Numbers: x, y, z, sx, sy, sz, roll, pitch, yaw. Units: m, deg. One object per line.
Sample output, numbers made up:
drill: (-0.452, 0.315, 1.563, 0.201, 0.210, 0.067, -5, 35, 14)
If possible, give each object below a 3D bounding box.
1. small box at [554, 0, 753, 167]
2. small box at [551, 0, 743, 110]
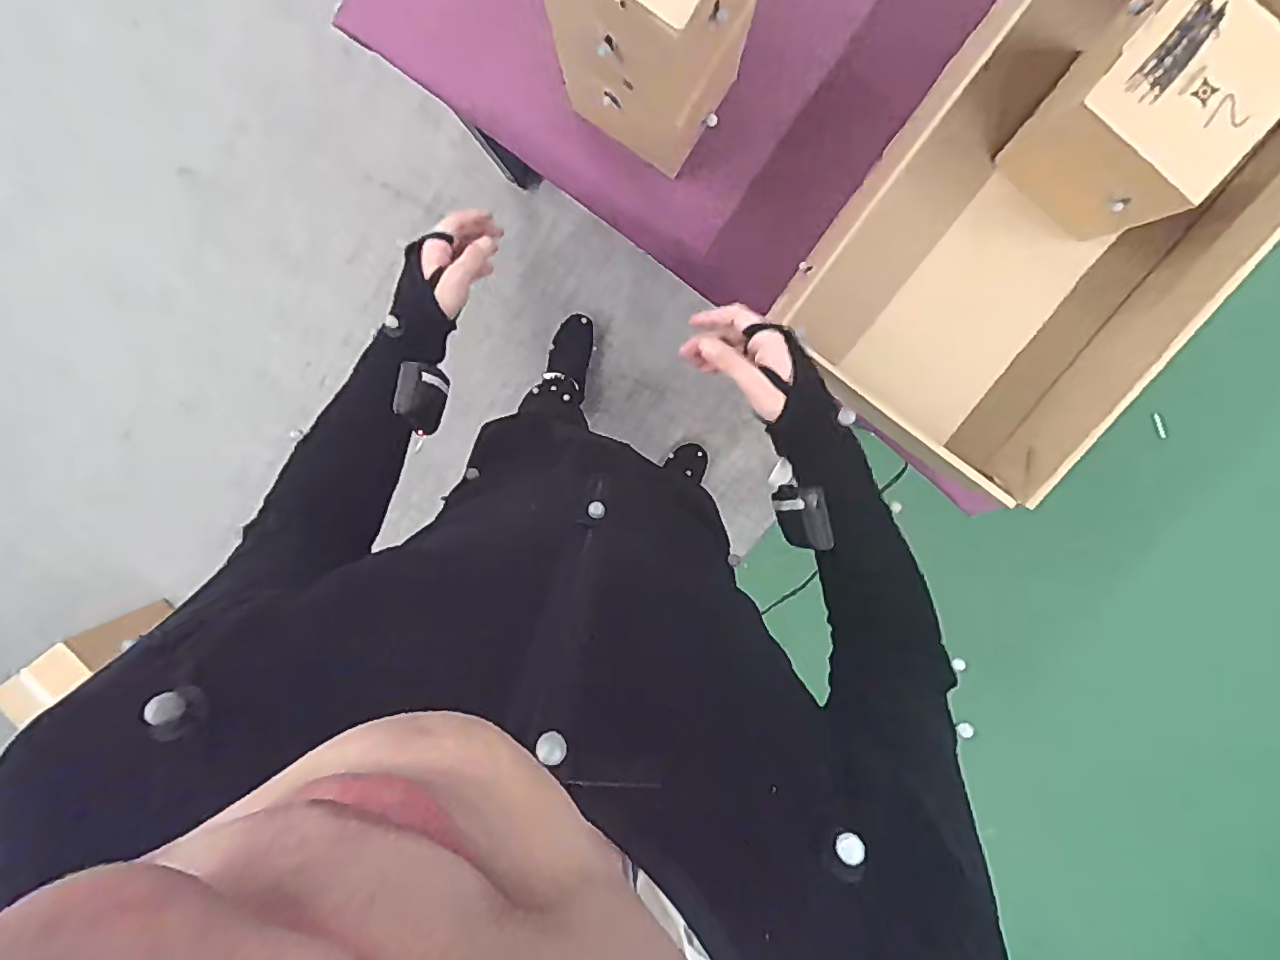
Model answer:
small box: (0.015, -0.545, 0.693, 0.179, 0.176, 0.168, 32, 100, -6)
small box: (0.014, -0.519, 0.531, 0.168, 0.176, 0.179, 34, 100, -6)
